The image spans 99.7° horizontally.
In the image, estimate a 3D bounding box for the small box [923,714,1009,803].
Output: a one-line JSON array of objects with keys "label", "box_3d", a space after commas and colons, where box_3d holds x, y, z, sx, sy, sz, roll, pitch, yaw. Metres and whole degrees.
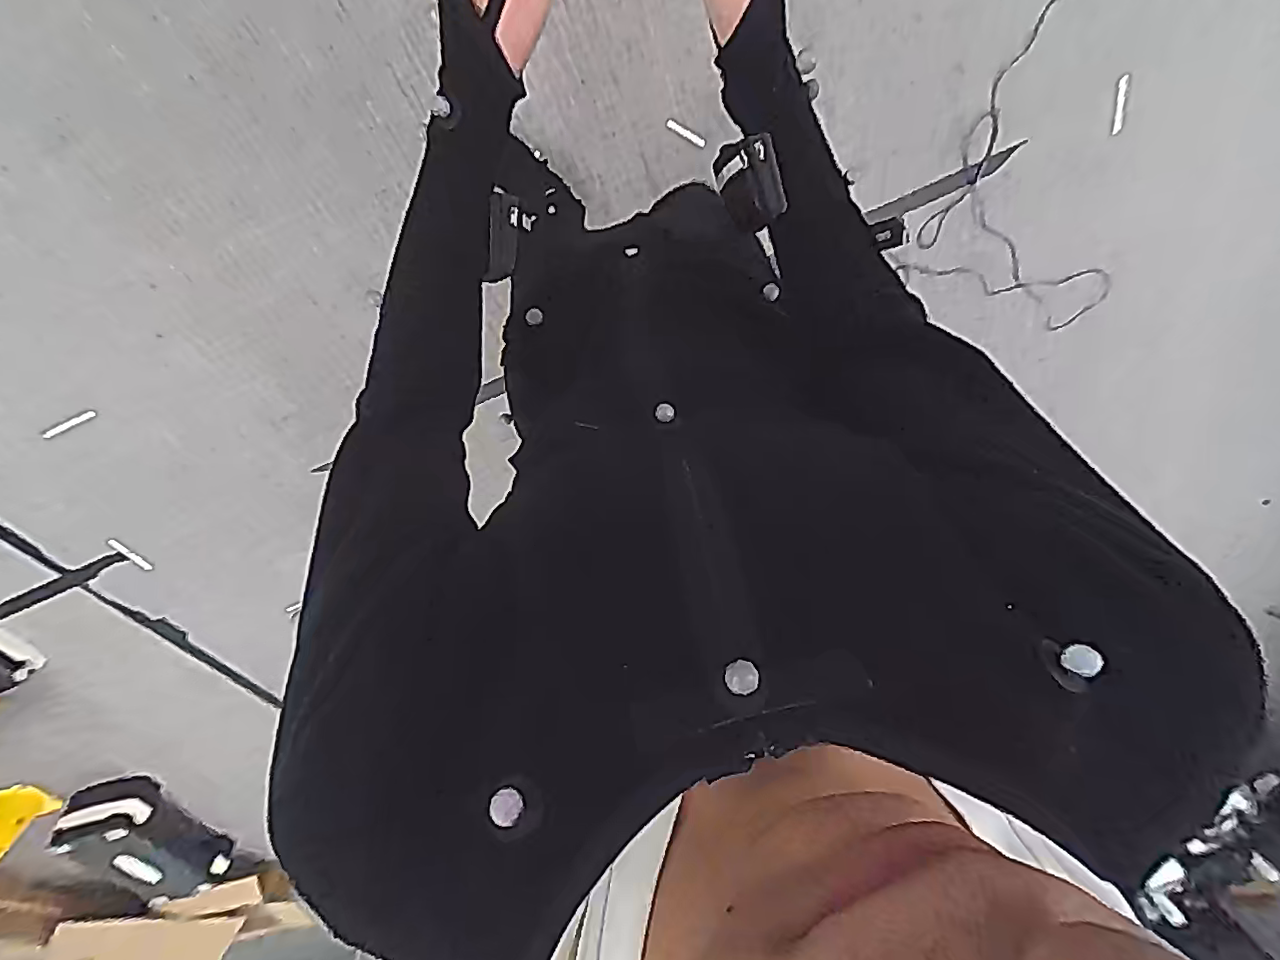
[{"label": "small box", "box_3d": [1.011, 0.869, 1.693, 0.168, 0.176, 0.179, -22, 126, 3]}]
